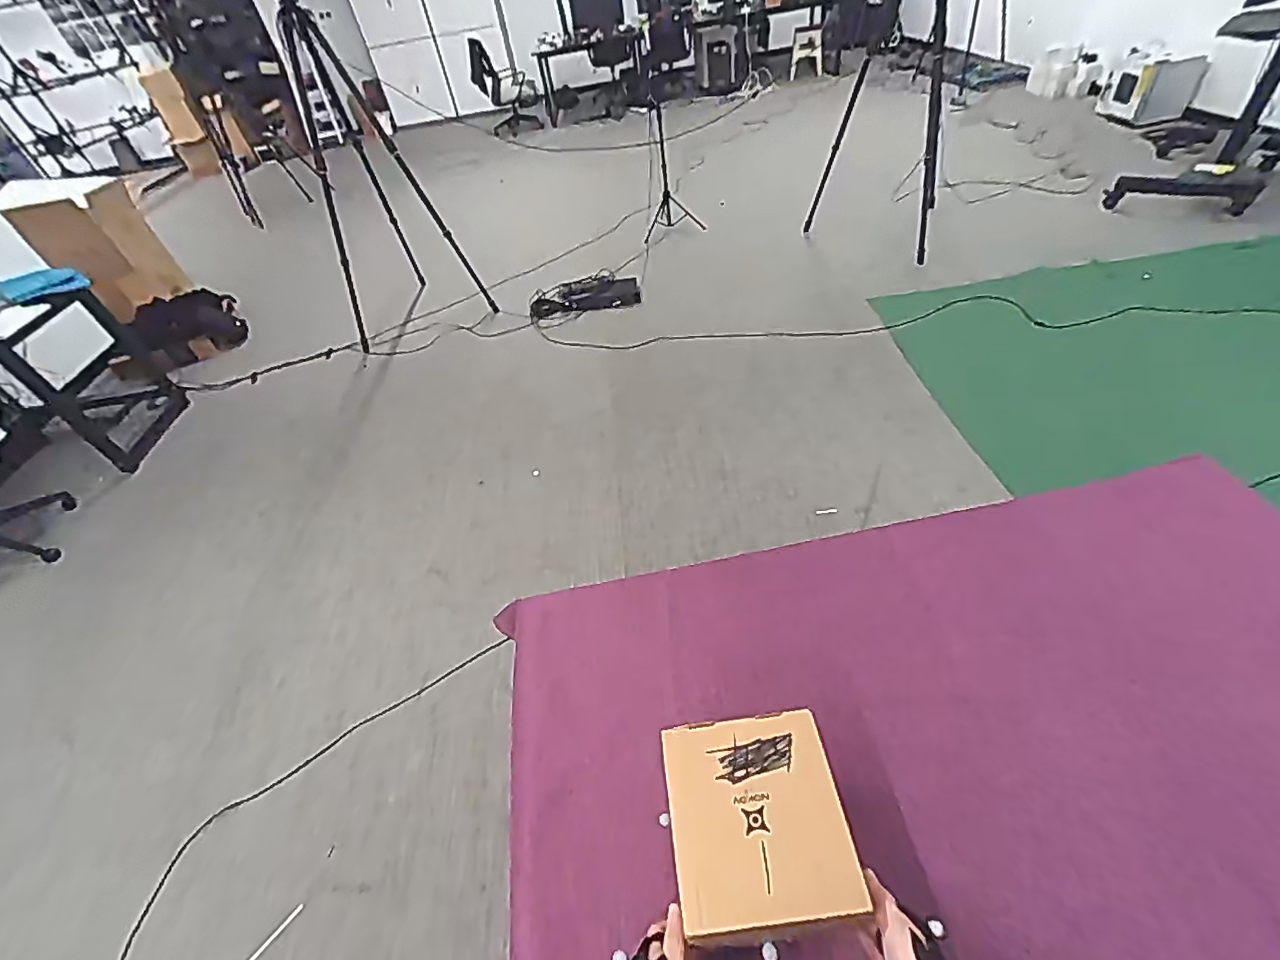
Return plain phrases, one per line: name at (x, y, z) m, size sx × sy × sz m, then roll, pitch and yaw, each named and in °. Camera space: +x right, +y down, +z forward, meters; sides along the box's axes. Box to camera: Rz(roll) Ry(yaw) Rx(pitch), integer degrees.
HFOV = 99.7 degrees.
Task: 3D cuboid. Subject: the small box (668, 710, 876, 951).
small box at (0.125, 0.375, 0.579) m, size 0.168 × 0.176 × 0.179 m, roll -9°, pitch 45°, yaw 2°
